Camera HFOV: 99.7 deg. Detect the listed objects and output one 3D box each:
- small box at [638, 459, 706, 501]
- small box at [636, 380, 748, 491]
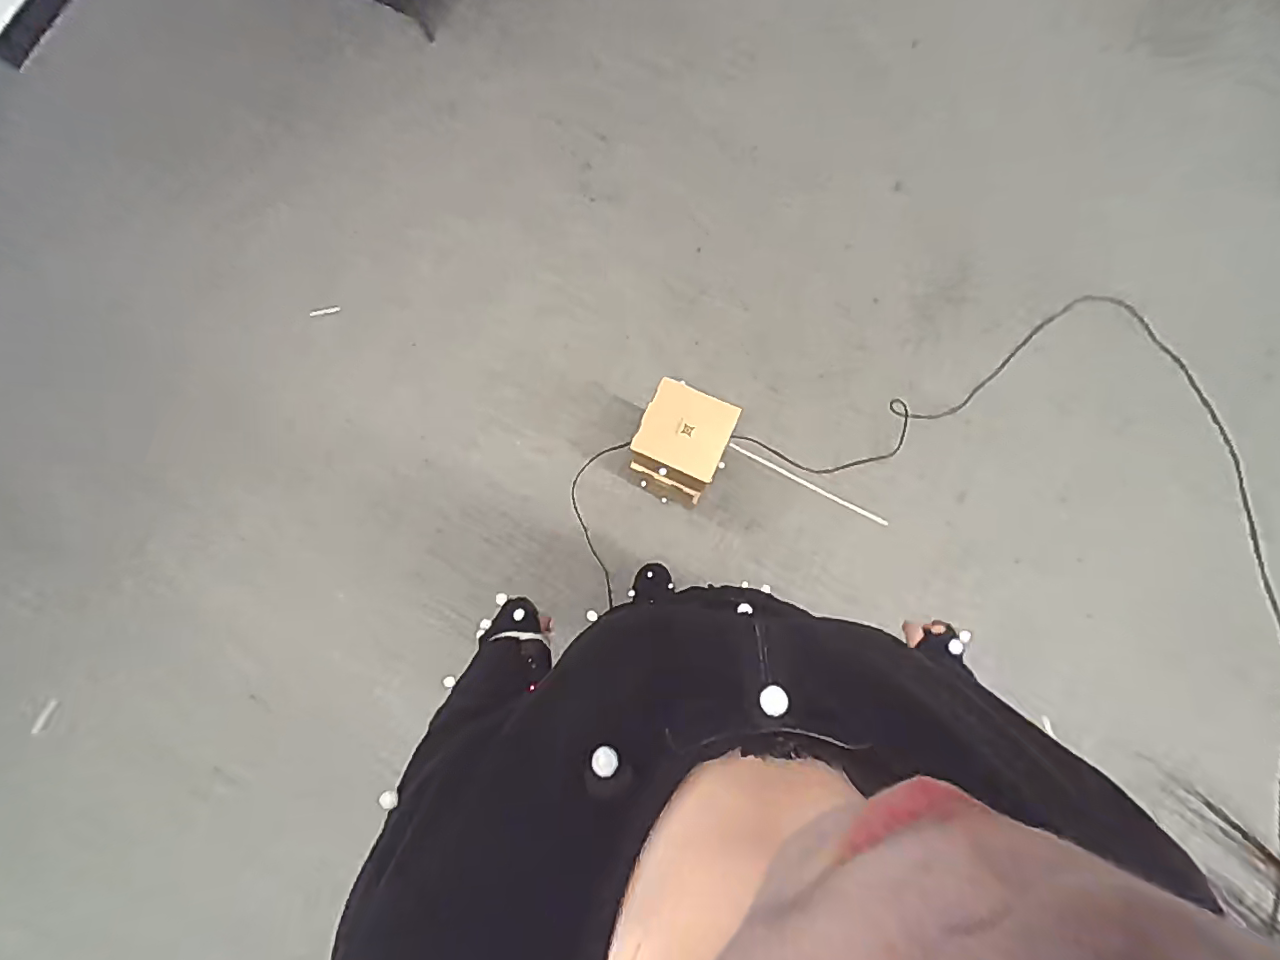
[{"bbox_3d":[0.110,-0.061,1.320,0.168,0.176,0.179,25,83,8],"label":"small box"},{"bbox_3d":[0.111,-0.086,1.159,0.179,0.176,0.168,25,84,9],"label":"small box"}]
